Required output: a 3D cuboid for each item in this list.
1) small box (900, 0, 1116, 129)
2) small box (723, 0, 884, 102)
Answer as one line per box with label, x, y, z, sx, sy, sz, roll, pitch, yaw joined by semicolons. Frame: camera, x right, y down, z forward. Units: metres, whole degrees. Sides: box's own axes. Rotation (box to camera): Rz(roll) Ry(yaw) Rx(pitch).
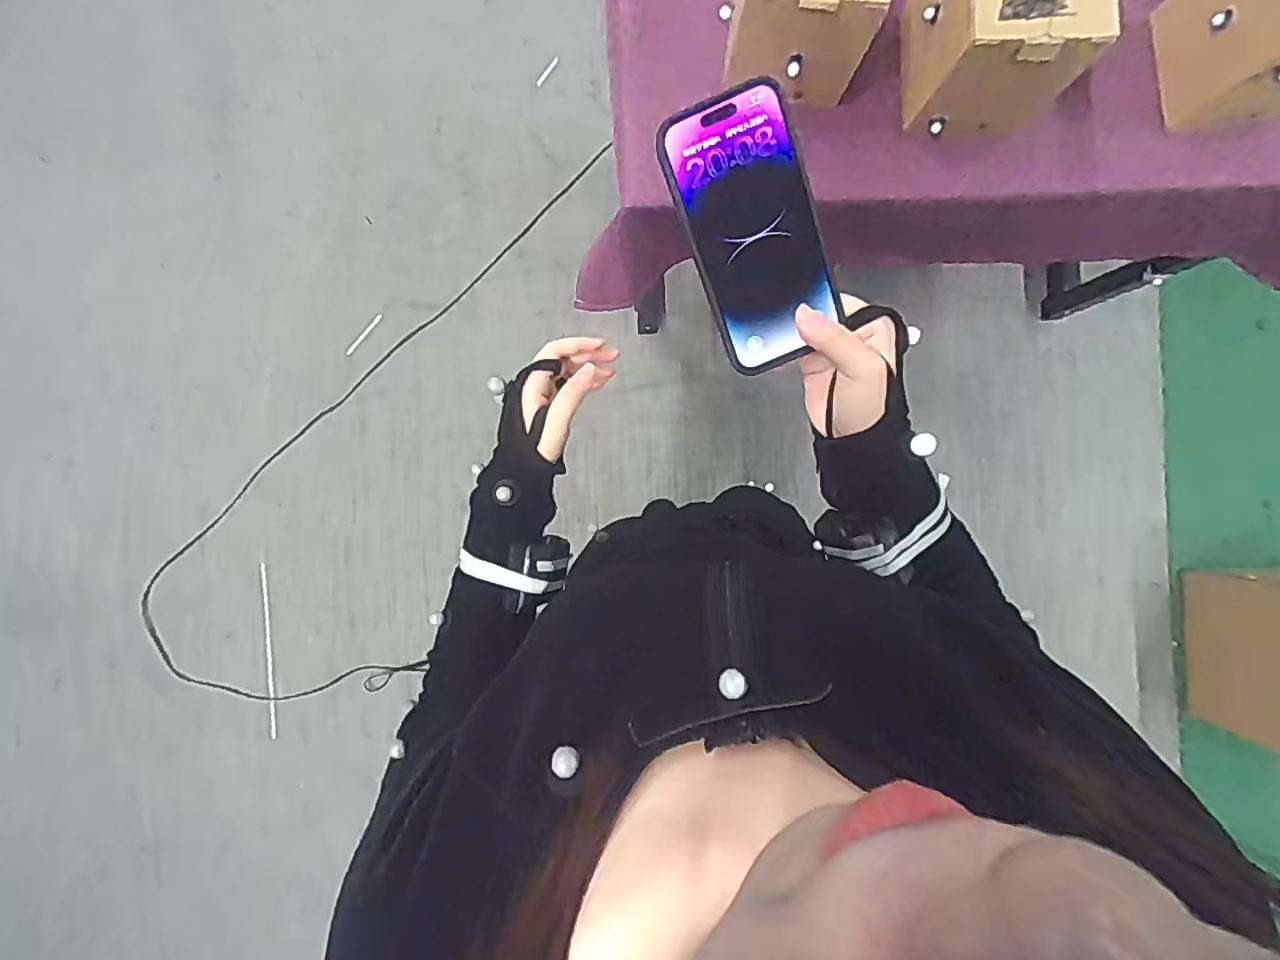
small box;0.449;-0.578;0.686;0.168;0.176;0.179;-2;89;0
small box;0.203;-0.622;0.686;0.168;0.176;0.179;6;90;0
